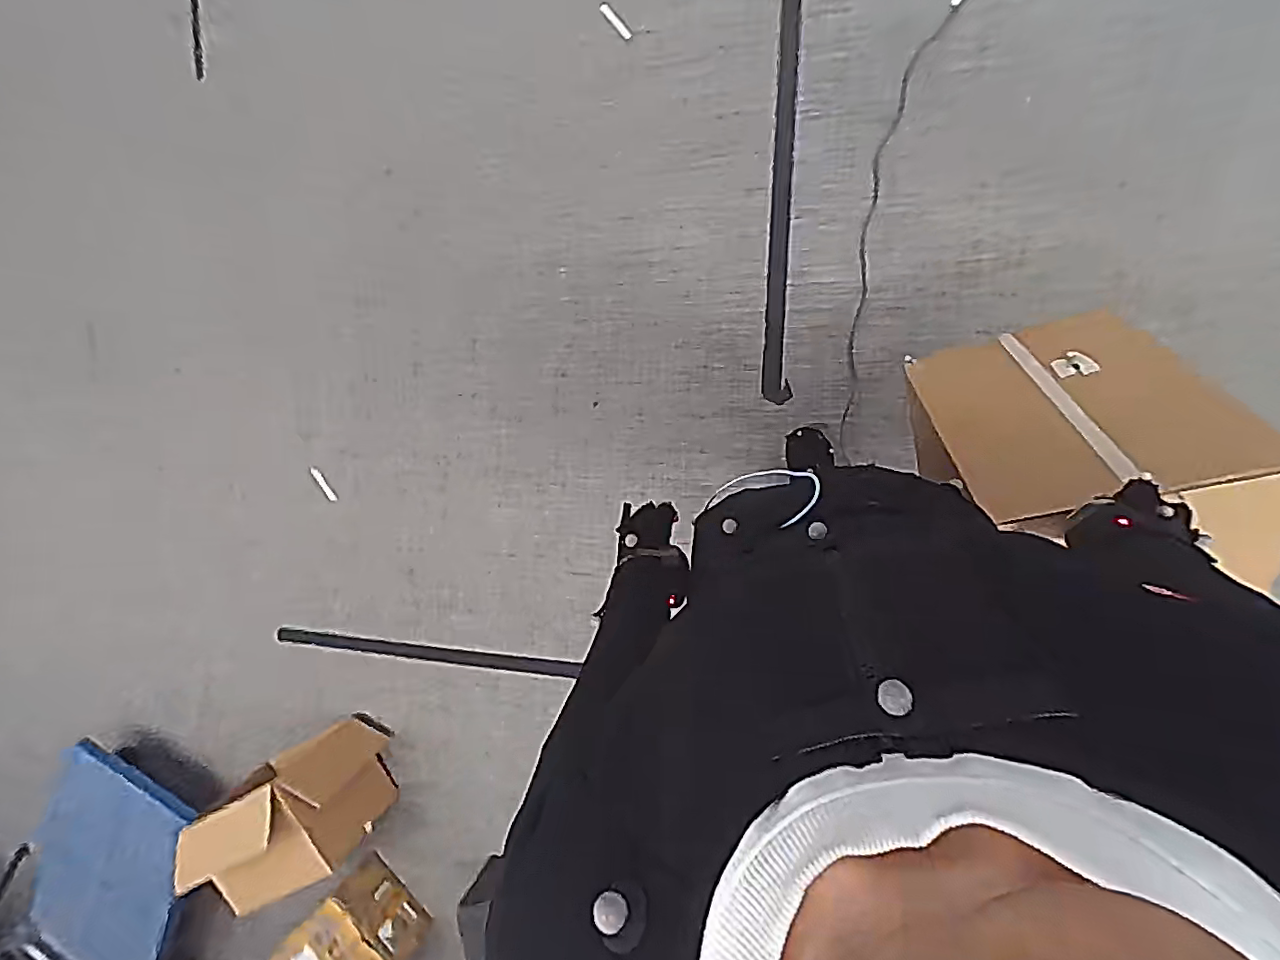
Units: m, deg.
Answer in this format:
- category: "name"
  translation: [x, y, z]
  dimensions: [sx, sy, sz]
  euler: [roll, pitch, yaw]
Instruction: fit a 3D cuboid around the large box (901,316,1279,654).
- category: "large box"
  translation: [0.648, 0.004, 0.859]
  dimensions: [0.320, 0.408, 0.320]
  euler: [-13, 127, 18]
